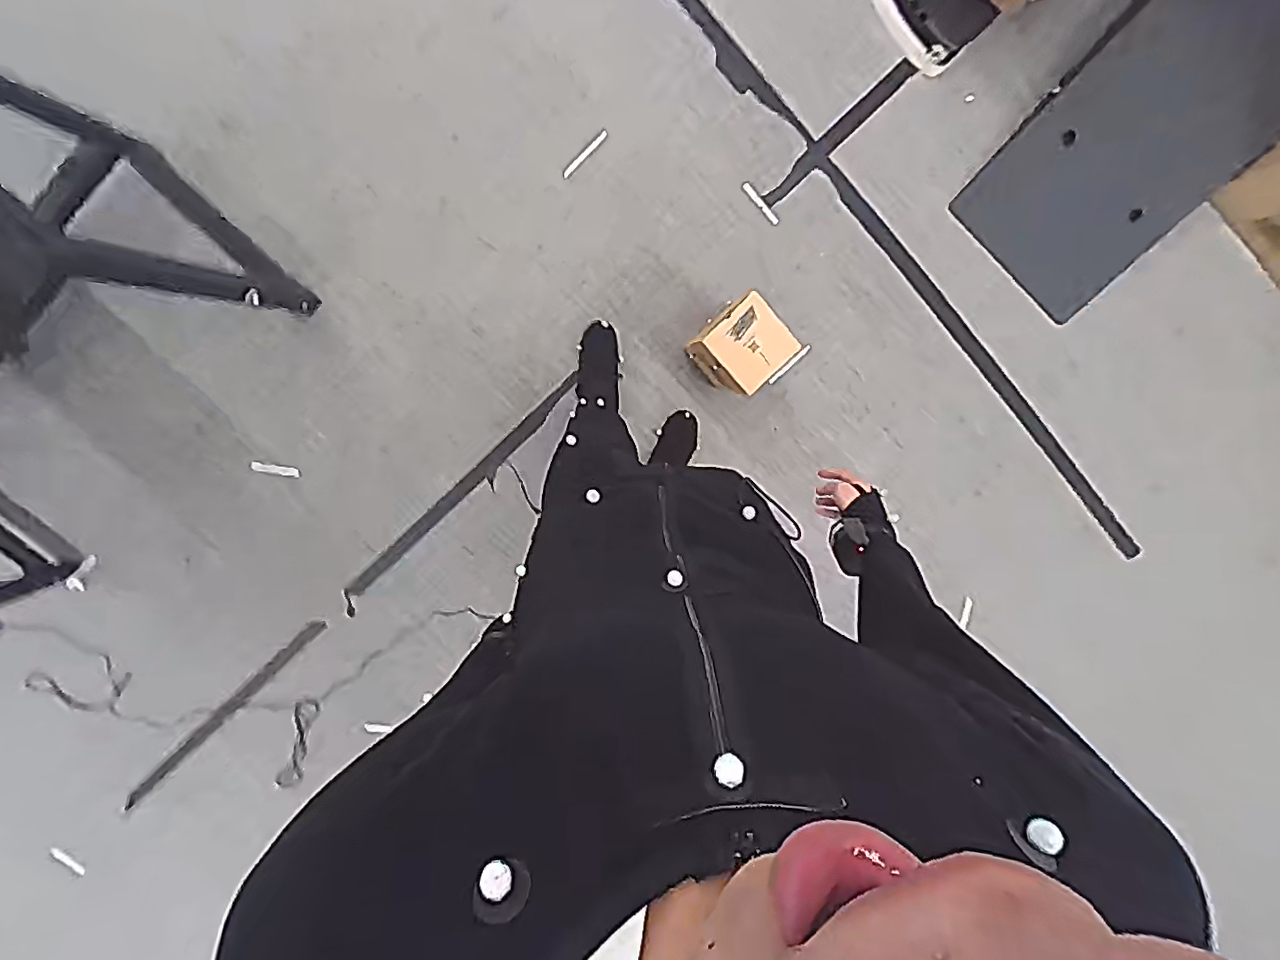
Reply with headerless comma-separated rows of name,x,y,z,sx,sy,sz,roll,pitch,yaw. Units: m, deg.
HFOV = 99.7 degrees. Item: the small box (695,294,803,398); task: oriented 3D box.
small box,0.254,-0.318,1.311,0.168,0.176,0.179,-42,101,7
